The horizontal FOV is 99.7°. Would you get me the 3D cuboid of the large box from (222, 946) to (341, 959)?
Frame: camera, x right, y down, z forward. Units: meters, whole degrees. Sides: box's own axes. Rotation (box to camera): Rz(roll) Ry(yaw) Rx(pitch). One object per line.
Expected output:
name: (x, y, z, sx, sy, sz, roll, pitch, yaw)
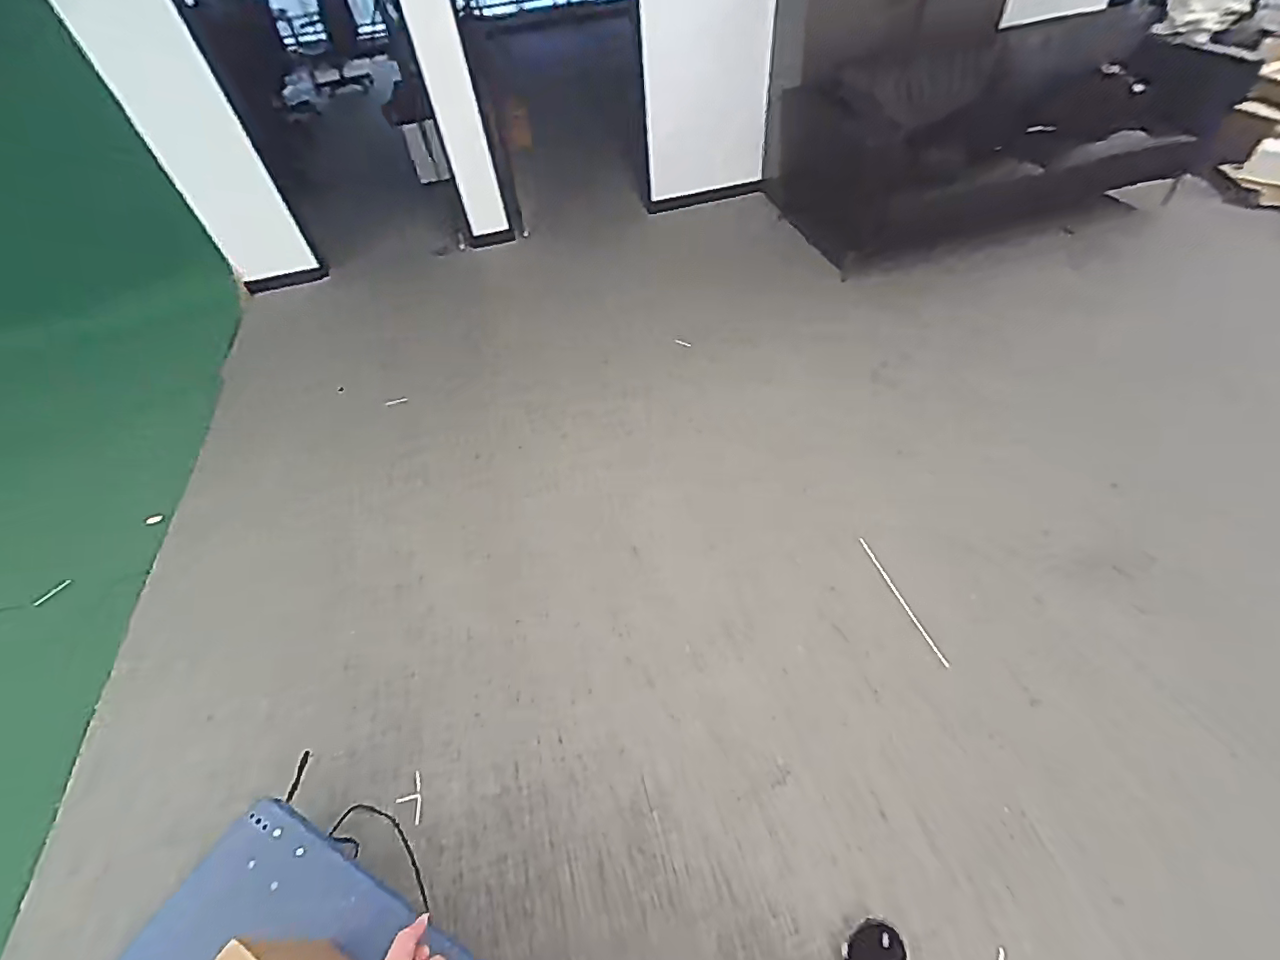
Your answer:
large box: (-0.553, 1.030, 0.850, 0.408, 0.320, 0.320, 18, 52, 22)
